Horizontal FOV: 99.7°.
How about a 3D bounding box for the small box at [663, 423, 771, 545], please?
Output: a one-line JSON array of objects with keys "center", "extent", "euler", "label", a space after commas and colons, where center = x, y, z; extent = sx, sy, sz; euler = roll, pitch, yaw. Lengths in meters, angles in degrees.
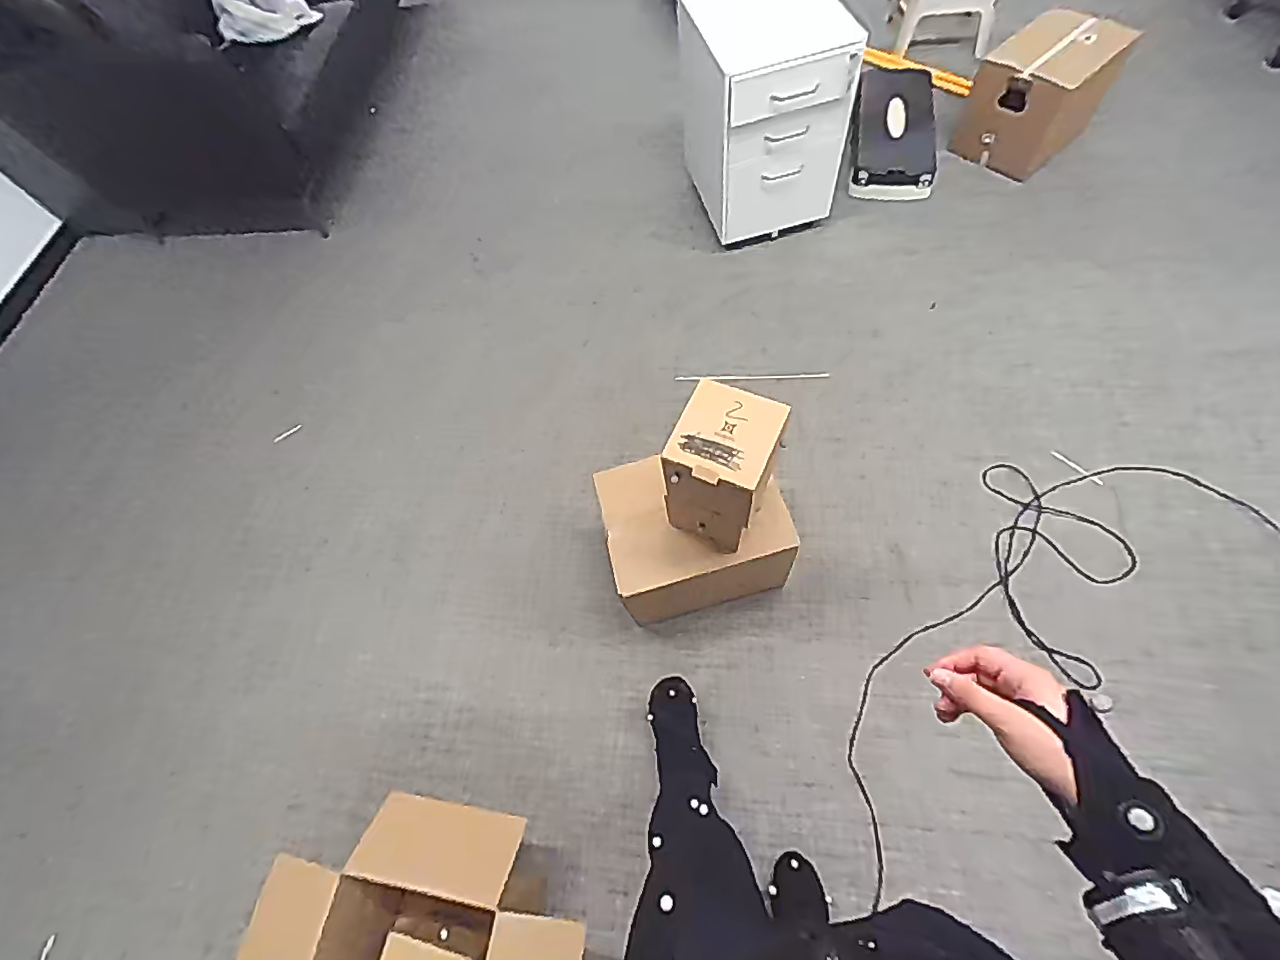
[{"center": [0.164, 0.016, 1.136], "extent": [0.168, 0.176, 0.179], "euler": [22, 70, 17], "label": "small box"}]
